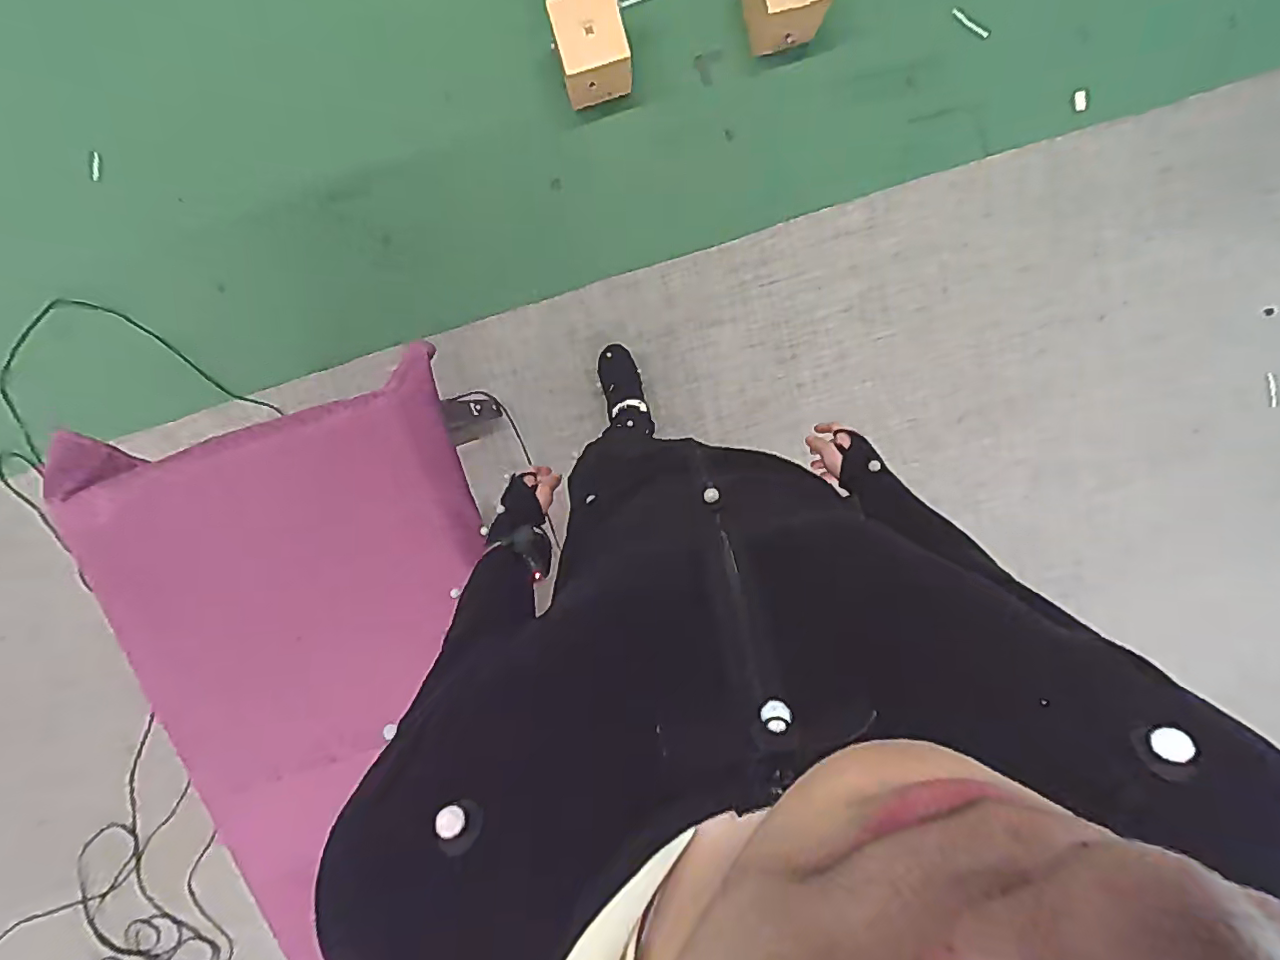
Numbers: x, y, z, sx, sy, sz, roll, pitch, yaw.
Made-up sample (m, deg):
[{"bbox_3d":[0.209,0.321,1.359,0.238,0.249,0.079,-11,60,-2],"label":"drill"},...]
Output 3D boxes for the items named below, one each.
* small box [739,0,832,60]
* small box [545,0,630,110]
[{"bbox_3d":[0.358,-1.218,1.363,0.168,0.176,0.179,-16,99,1],"label":"small box"},{"bbox_3d":[-0.125,-1.080,1.373,0.168,0.176,0.179,-17,98,1],"label":"small box"}]
